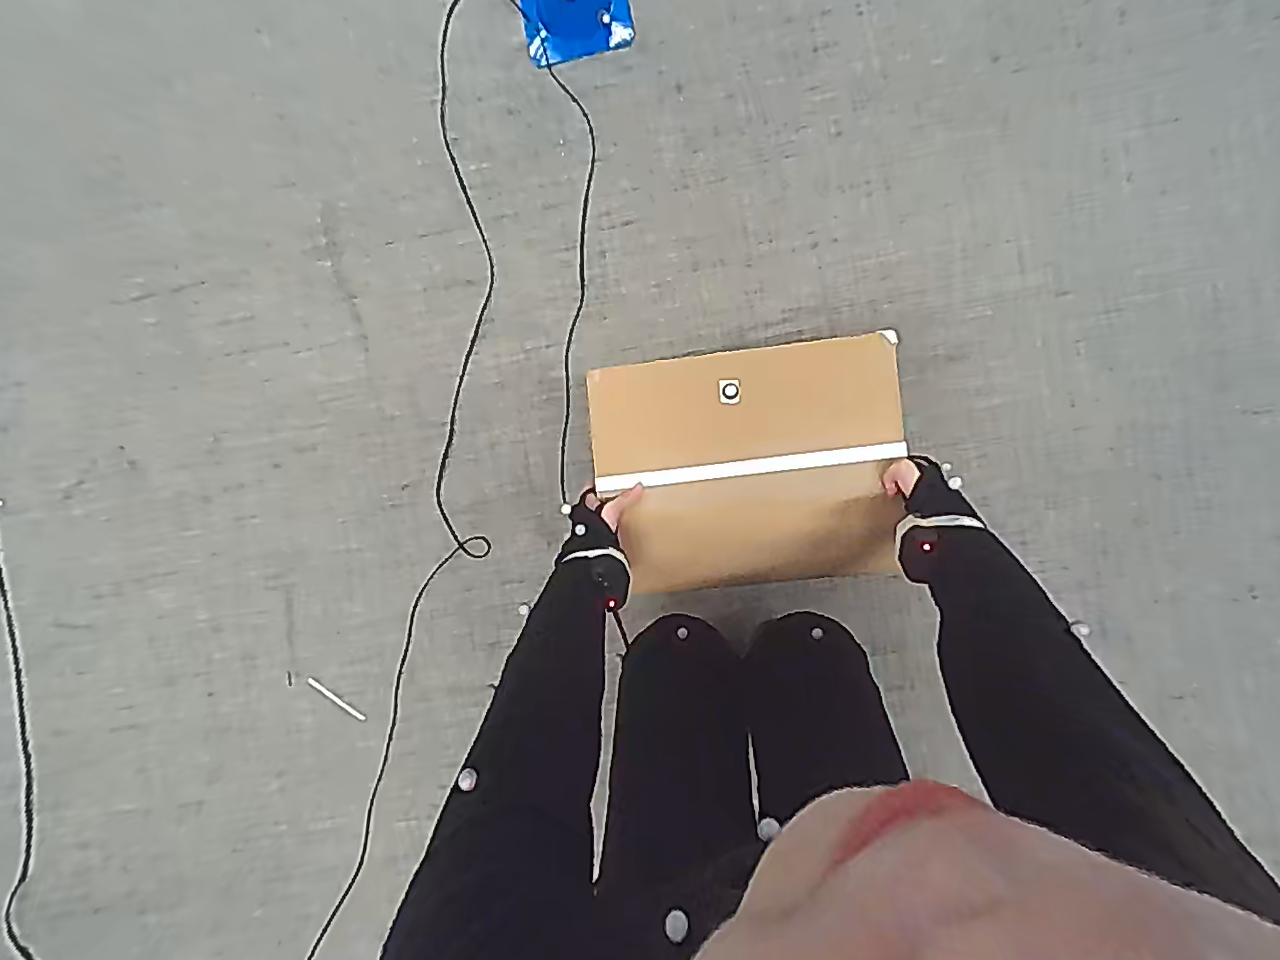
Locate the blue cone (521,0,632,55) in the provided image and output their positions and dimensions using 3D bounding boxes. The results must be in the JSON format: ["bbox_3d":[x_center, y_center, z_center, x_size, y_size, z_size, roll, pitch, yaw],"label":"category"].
[{"bbox_3d":[-0.132,-0.887,0.825,0.193,0.380,0.192,-13,91,3],"label":"blue cone"}]
